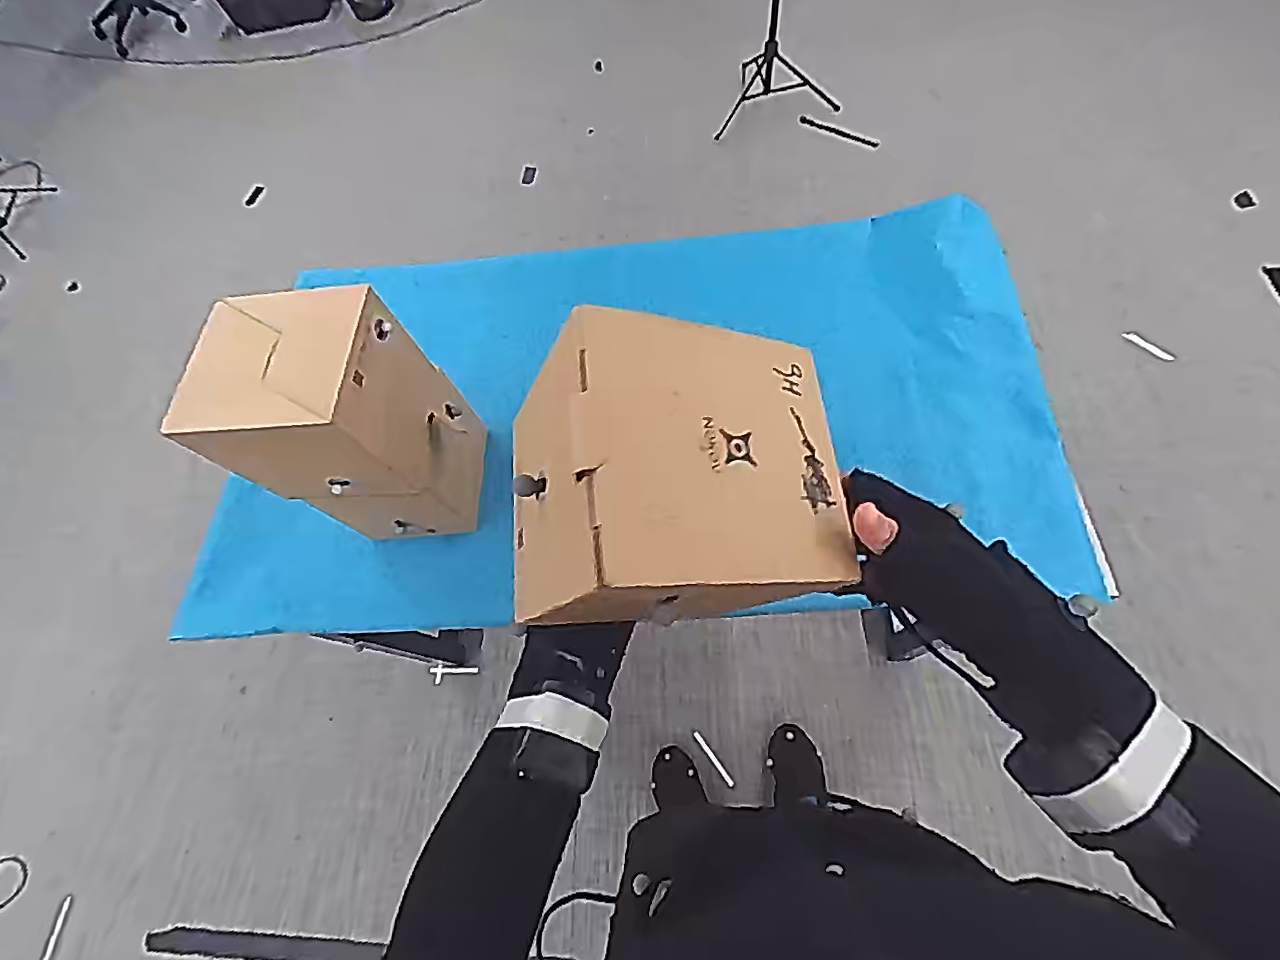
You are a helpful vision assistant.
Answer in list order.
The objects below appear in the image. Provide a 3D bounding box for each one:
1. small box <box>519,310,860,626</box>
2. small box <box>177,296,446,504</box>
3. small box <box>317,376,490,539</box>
[{"bbox_3d":[0.015,0.006,0.390,0.179,0.176,0.168,0,70,-26],"label":"small box"},{"bbox_3d":[-0.346,-0.082,0.602,0.179,0.176,0.168,-3,65,7],"label":"small box"},{"bbox_3d":[-0.326,-0.025,0.758,0.168,0.176,0.179,-2,67,10],"label":"small box"}]
